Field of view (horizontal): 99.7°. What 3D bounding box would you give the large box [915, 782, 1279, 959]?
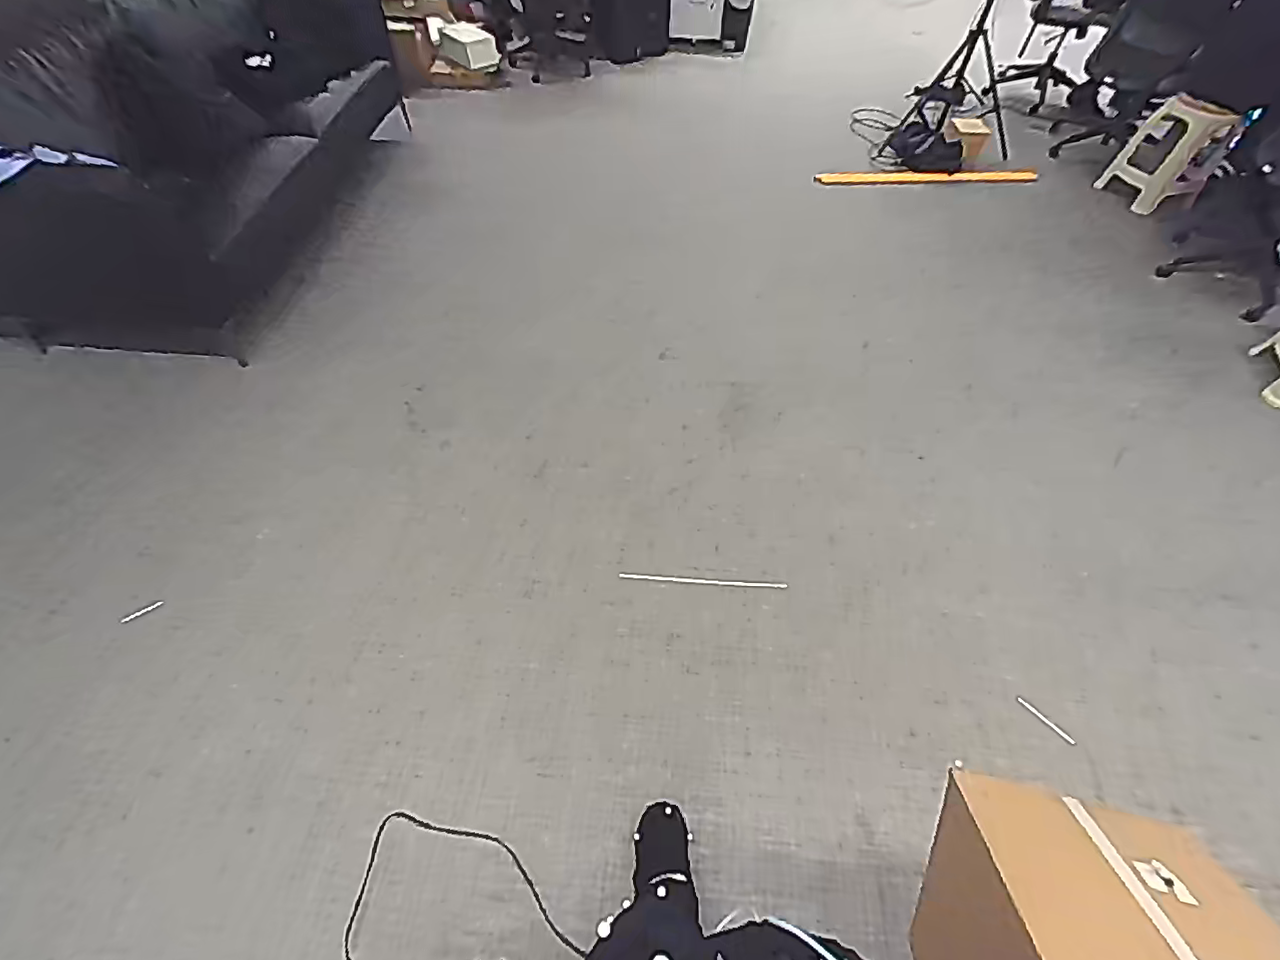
[{"bbox_3d":[0.560,0.661,0.635,0.320,0.408,0.320,11,98,13],"label":"large box"}]
